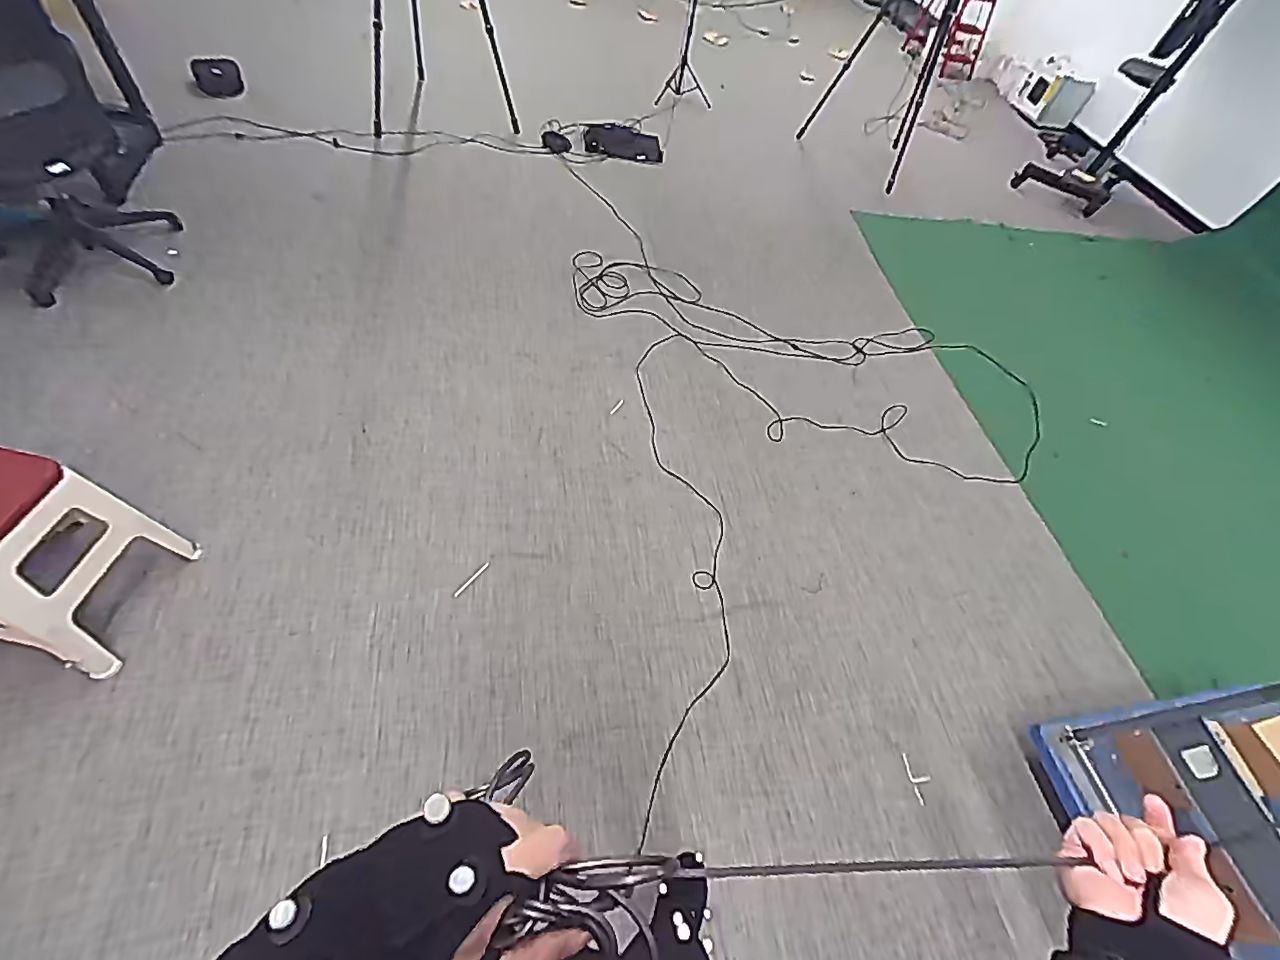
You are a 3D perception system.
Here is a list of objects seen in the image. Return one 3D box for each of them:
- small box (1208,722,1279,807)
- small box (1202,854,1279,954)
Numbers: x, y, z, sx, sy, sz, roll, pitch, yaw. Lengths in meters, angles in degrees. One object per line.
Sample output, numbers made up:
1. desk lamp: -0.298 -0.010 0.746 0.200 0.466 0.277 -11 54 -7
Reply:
1. small box: 1.688 0.752 1.435 0.179 0.176 0.168 -6 57 -14
2. small box: 1.483 0.969 1.242 0.179 0.176 0.168 -2 55 -11
